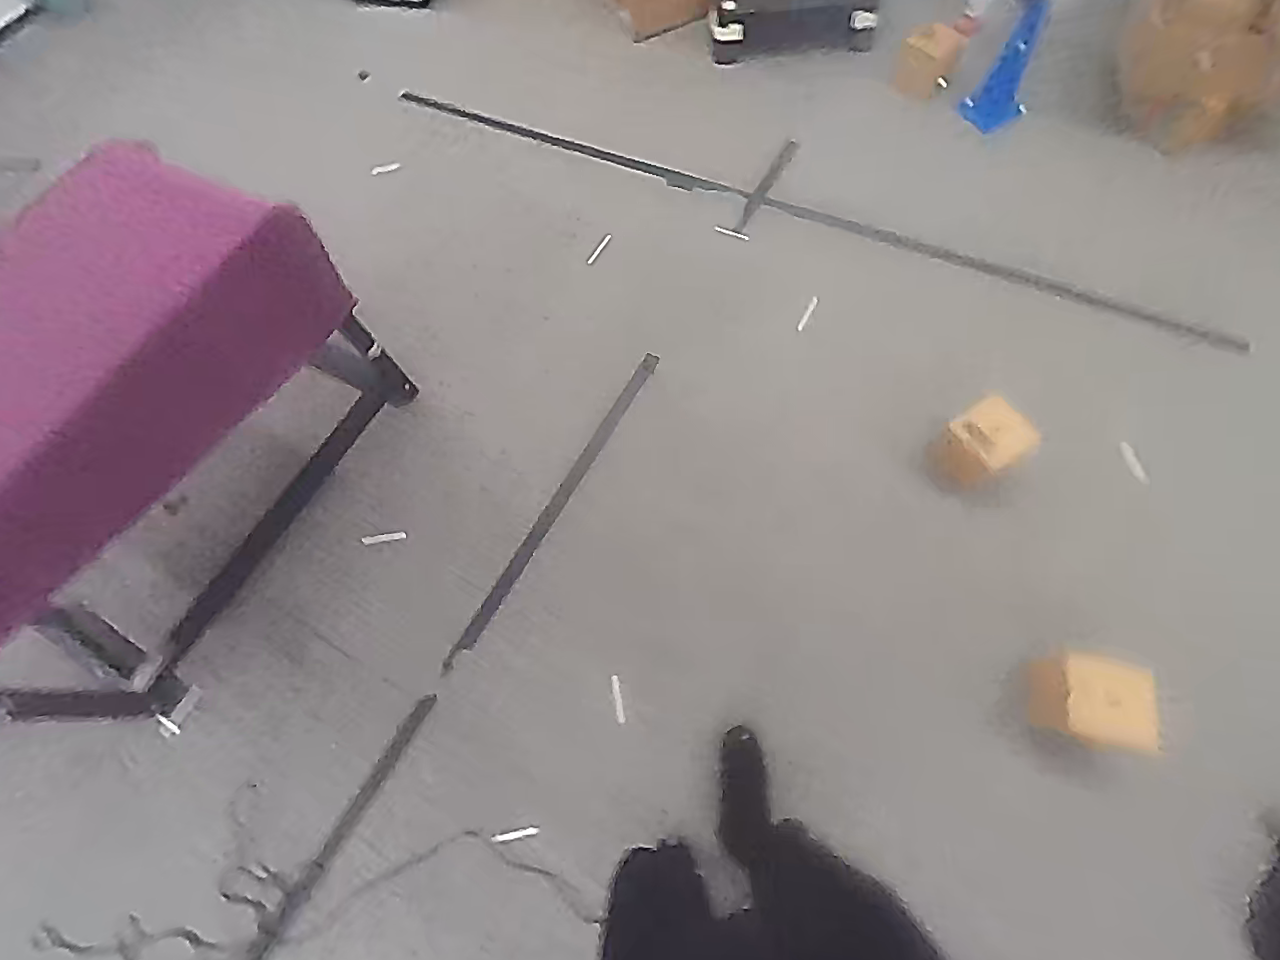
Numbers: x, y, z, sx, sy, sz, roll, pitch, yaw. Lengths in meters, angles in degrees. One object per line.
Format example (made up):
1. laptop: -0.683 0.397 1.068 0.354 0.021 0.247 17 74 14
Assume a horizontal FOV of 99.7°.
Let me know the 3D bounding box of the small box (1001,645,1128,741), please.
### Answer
1. small box: 0.997 0.498 1.278 0.179 0.176 0.168 13 70 9
